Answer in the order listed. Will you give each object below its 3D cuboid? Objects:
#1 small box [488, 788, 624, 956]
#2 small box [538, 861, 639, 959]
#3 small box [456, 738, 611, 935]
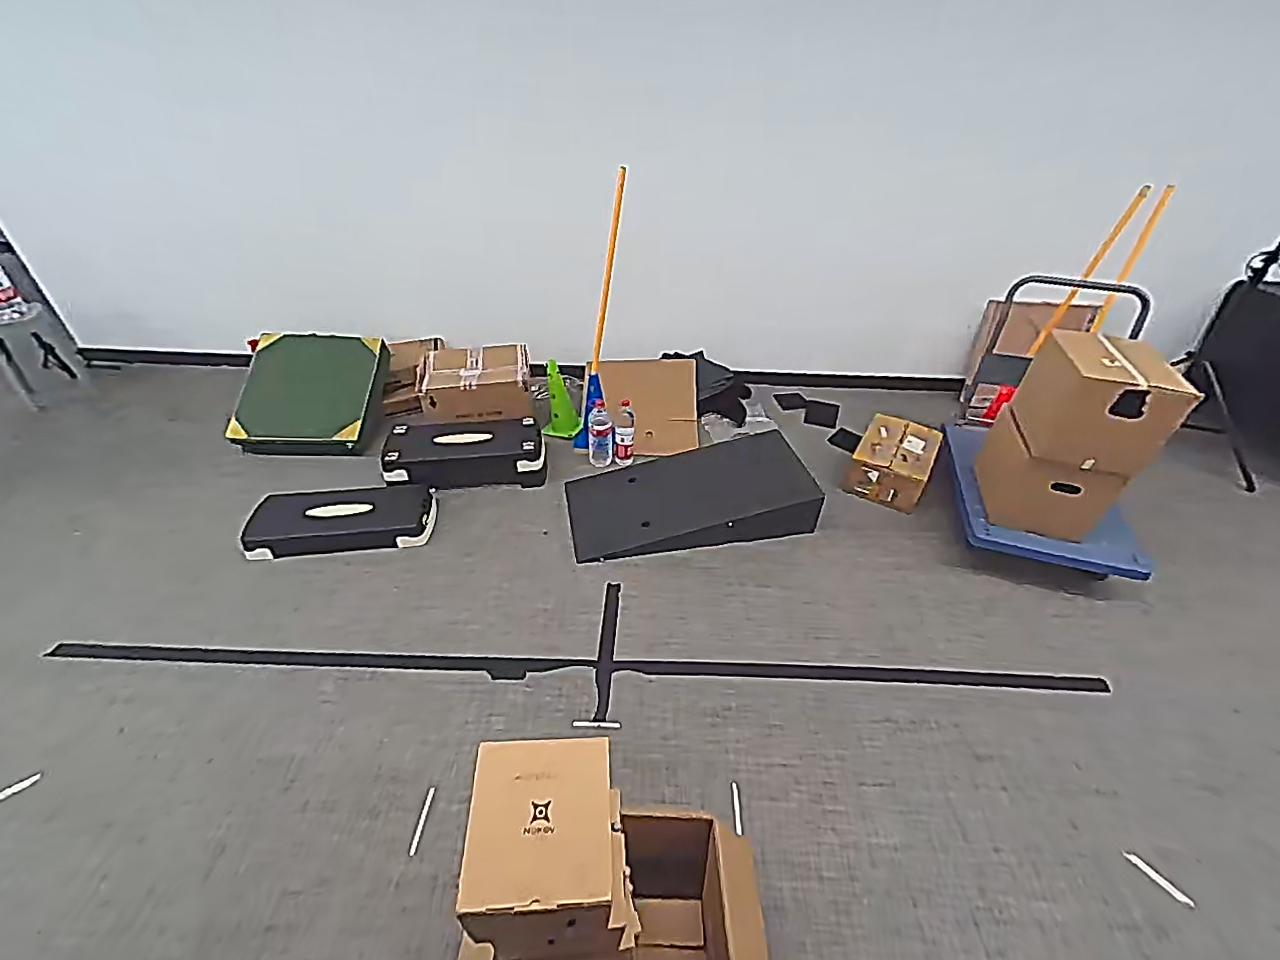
[{"bbox_3d":[-0.117,0.571,0.790,0.179,0.176,0.168,1,43,-7],"label":"small box"},{"bbox_3d":[-0.113,0.805,1.024,0.179,0.176,0.168,-9,43,-18],"label":"small box"},{"bbox_3d":[-0.122,0.449,0.681,0.168,0.176,0.179,2,41,-6],"label":"small box"}]
